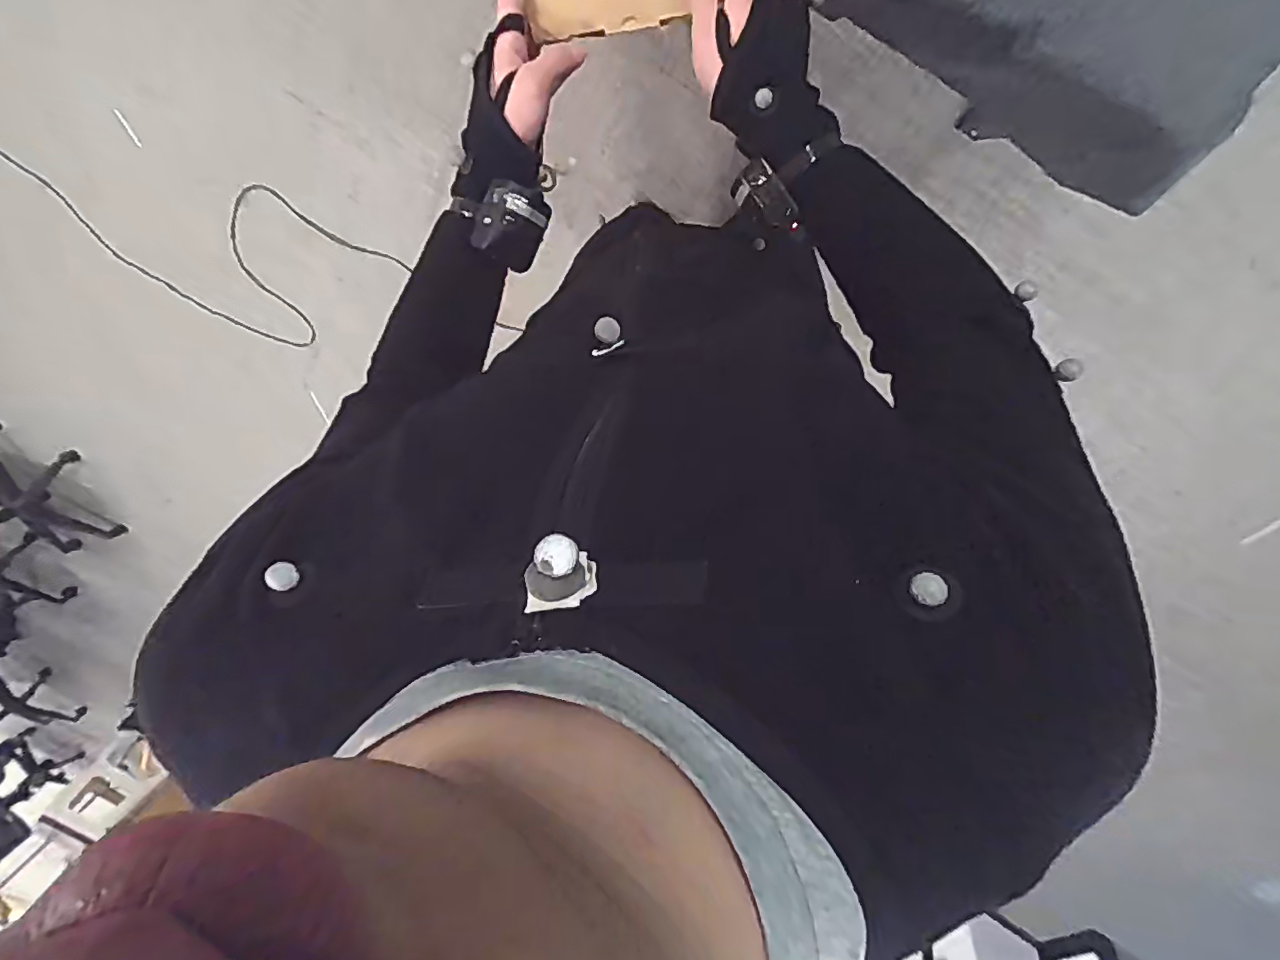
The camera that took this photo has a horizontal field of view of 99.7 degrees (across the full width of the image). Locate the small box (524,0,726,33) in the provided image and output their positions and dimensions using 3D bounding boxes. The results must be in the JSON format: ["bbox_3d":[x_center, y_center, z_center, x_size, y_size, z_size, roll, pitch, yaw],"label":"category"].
[{"bbox_3d":[-0.005,-0.470,0.410,0.168,0.176,0.179,0,132,12],"label":"small box"}]
